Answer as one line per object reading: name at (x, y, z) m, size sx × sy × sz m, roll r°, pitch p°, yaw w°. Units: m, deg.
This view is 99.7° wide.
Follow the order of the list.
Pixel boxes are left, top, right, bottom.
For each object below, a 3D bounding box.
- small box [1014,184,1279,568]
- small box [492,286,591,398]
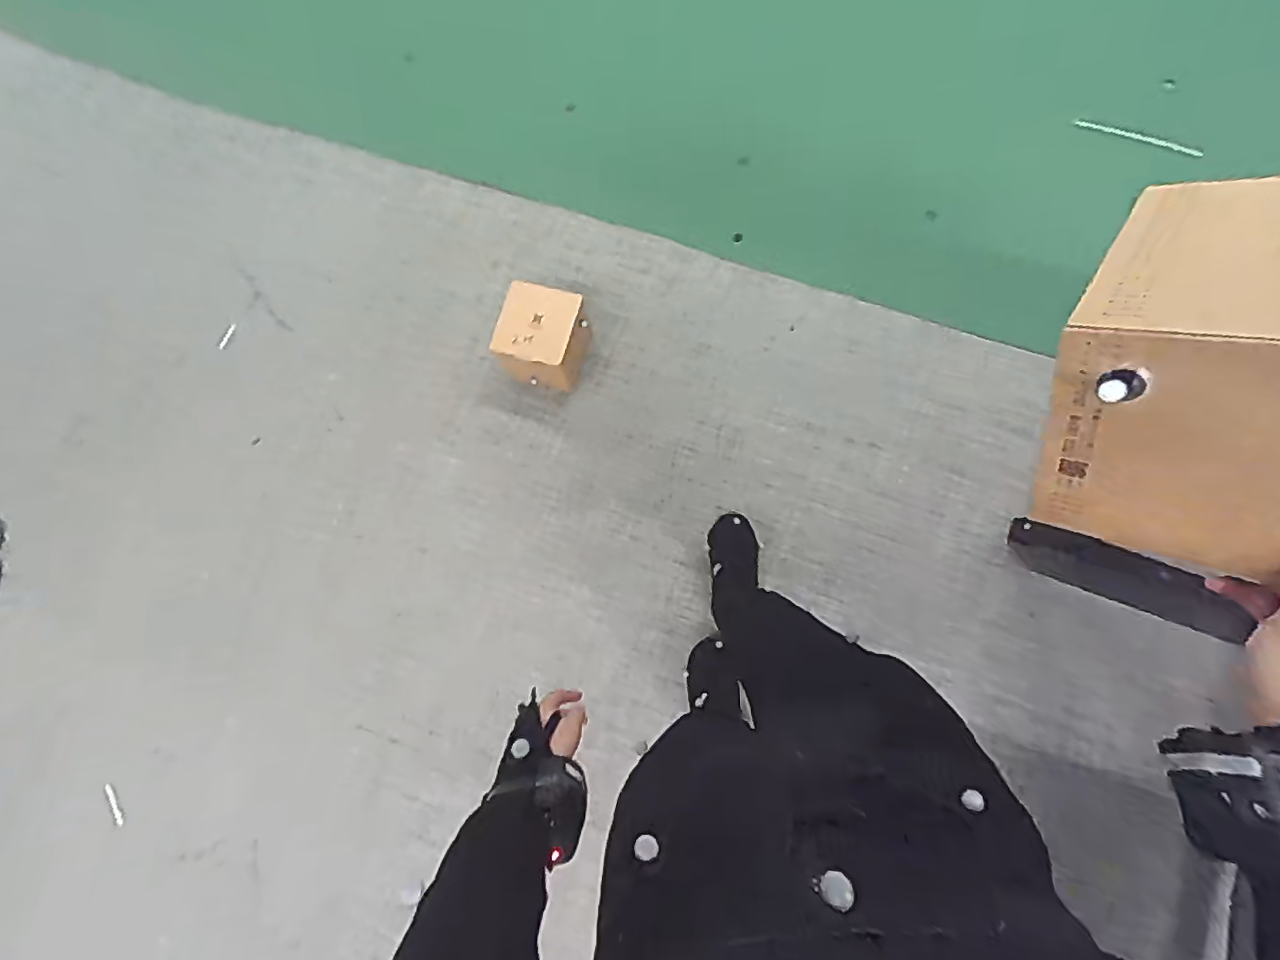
small box at (0.360, -0.066, 0.340) m, size 0.176 × 0.168 × 0.179 m, roll 19°, pitch 56°, yaw 41°
small box at (-0.218, -0.315, 1.261) m, size 0.168 × 0.176 × 0.179 m, roll 15°, pitch 79°, yaw 6°
